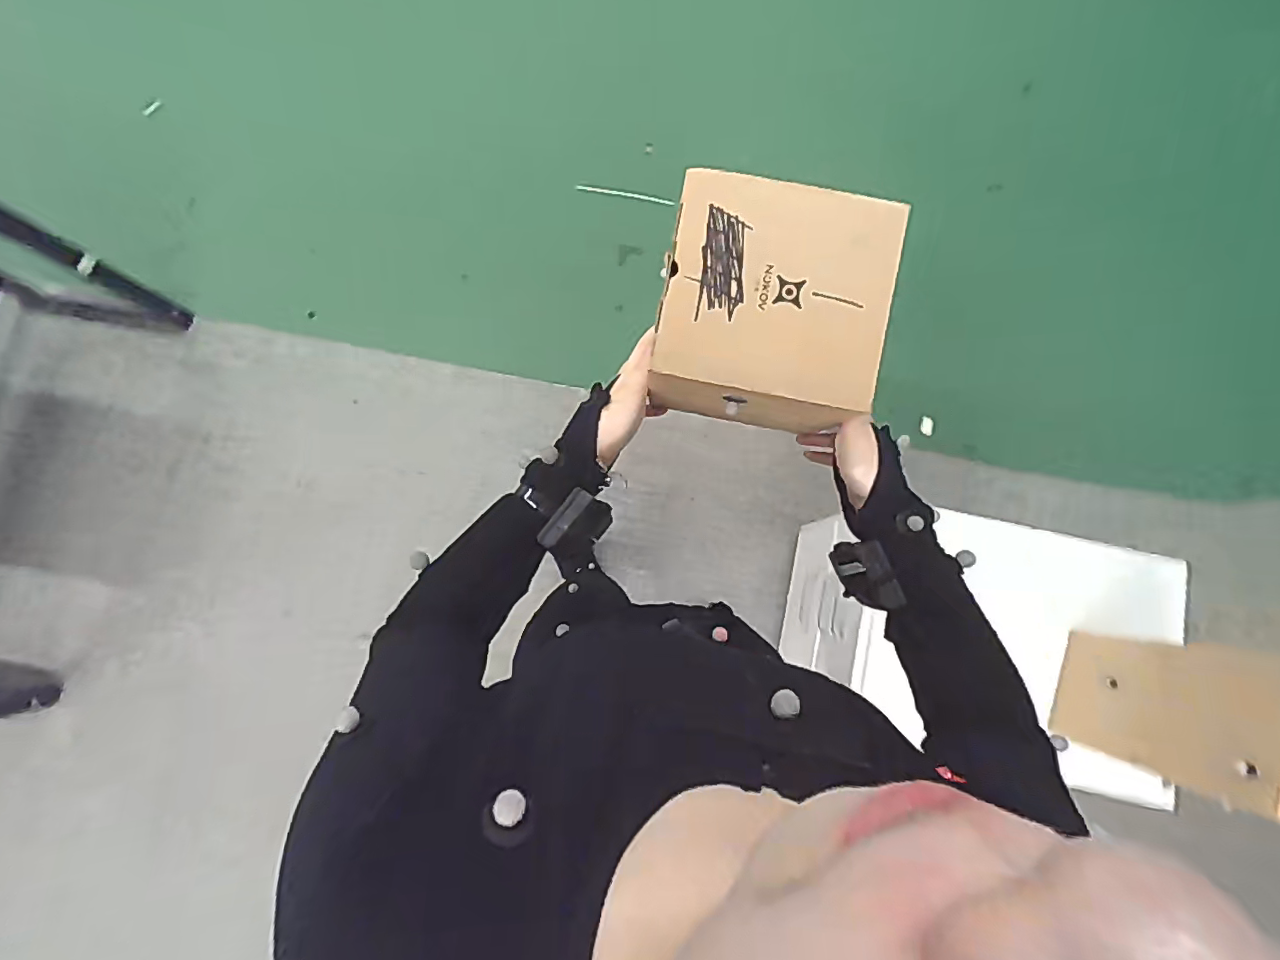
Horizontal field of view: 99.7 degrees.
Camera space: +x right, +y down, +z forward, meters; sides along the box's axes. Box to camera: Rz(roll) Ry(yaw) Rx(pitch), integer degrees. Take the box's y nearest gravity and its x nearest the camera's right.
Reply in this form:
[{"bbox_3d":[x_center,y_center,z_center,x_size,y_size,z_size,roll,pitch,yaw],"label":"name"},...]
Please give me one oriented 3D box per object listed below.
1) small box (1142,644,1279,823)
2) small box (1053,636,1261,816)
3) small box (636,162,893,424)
[{"bbox_3d":[0.753,0.308,0.636,0.168,0.176,0.179,19,81,4],"label":"small box"},{"bbox_3d":[0.757,0.342,0.795,0.168,0.176,0.179,20,80,5],"label":"small box"},{"bbox_3d":[0.098,-0.152,0.497,0.179,0.176,0.168,10,89,1],"label":"small box"}]
